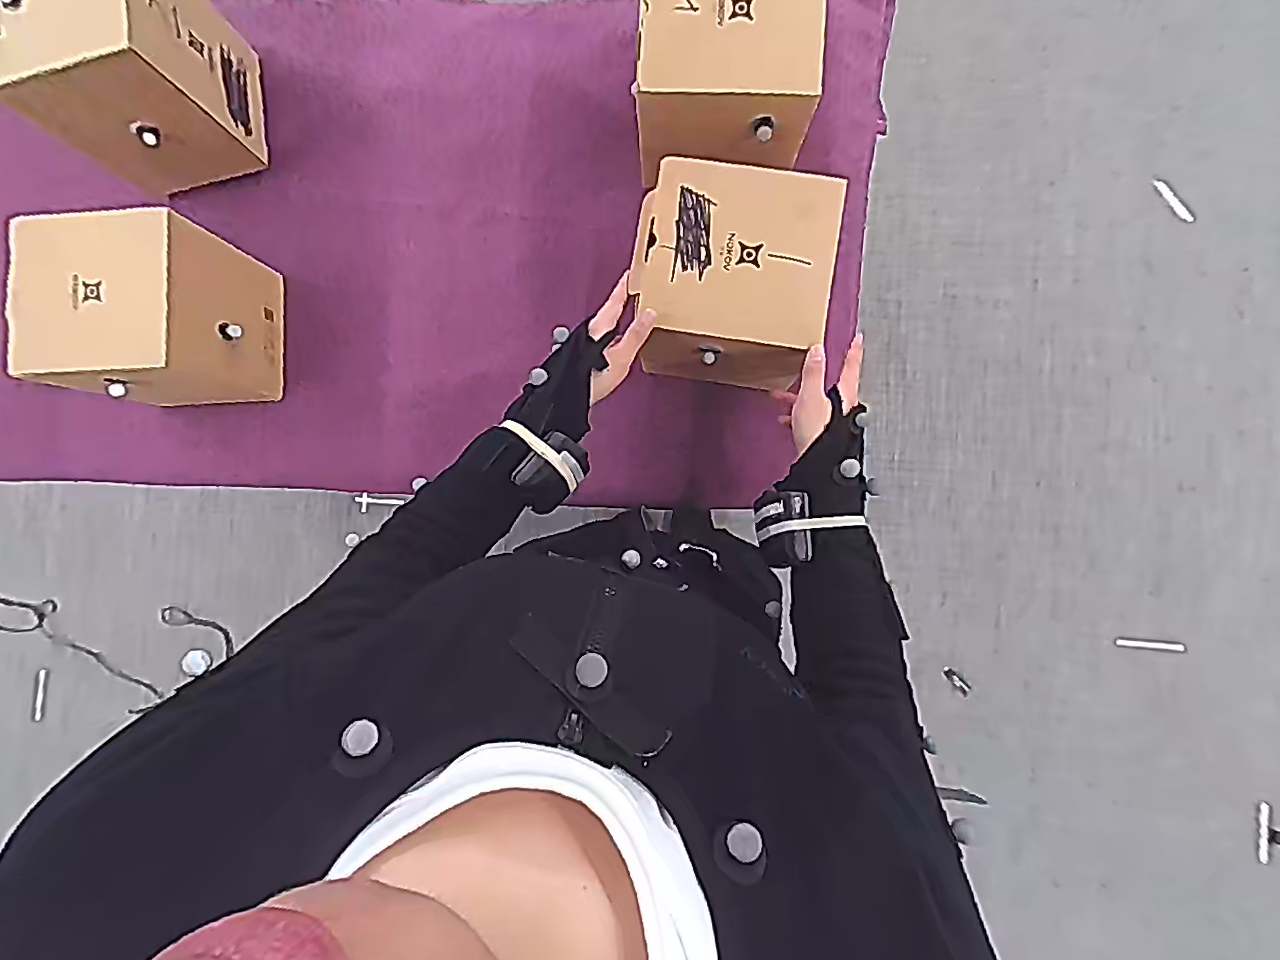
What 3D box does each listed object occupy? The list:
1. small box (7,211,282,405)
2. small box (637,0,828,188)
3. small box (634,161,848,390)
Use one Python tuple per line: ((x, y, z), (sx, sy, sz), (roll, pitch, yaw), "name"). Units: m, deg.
((-0.547, -0.183, 0.621), (0.179, 0.176, 0.168), (-2, 87, 4), "small box")
((0.092, -0.437, 0.587), (0.179, 0.176, 0.168), (4, 89, 3), "small box")
((0.098, -0.202, 0.578), (0.179, 0.176, 0.168), (9, 87, 4), "small box")
